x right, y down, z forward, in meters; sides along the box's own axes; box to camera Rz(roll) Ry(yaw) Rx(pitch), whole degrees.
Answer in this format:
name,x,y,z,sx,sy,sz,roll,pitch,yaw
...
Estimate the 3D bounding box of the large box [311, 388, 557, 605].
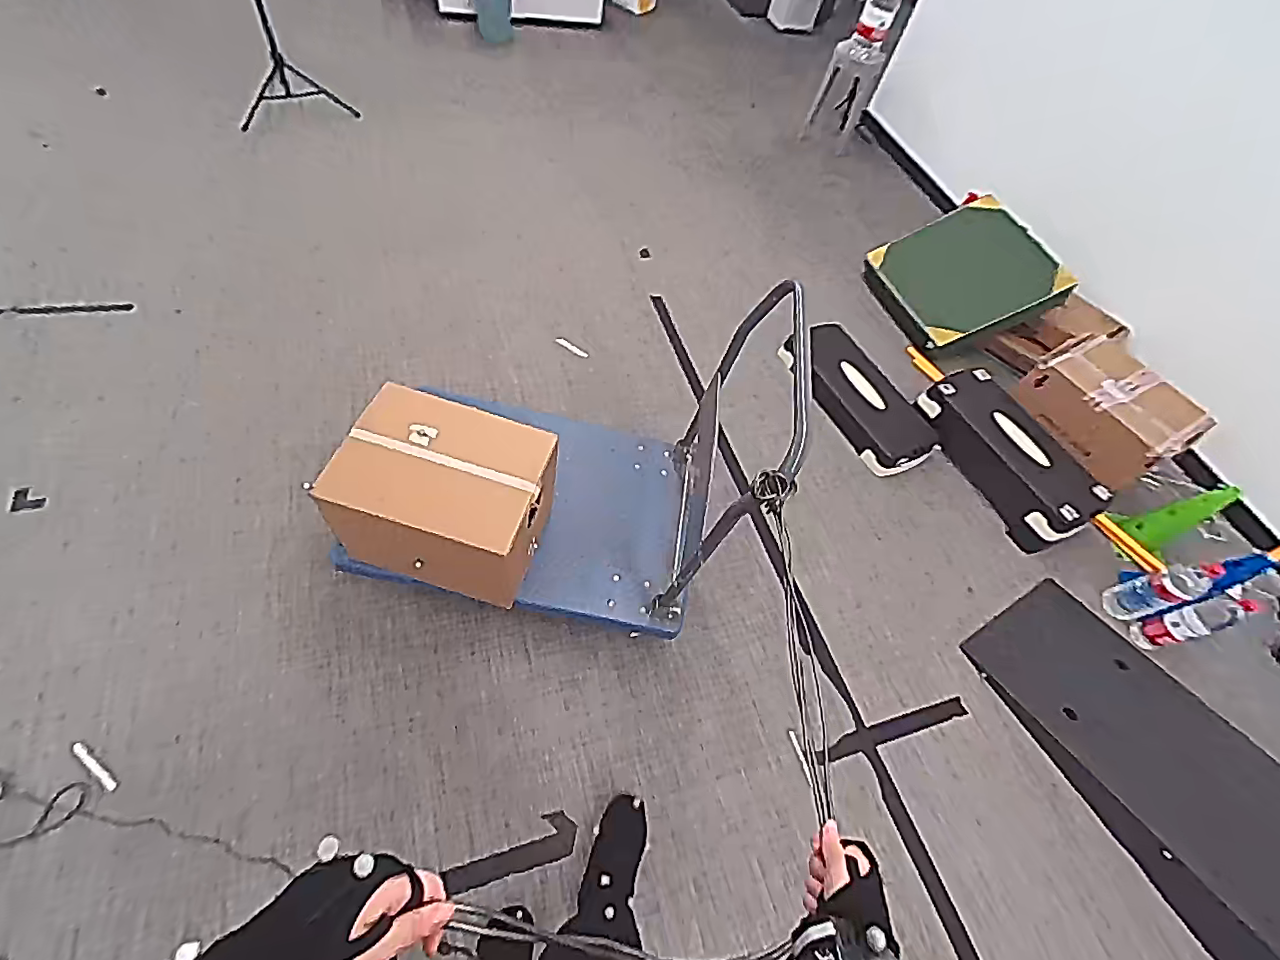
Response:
name,x,y,z,sx,sy,sz,roll,pitch,yaw
large box,-0.429,0.049,1.239,0.408,0.320,0.320,17,55,0
